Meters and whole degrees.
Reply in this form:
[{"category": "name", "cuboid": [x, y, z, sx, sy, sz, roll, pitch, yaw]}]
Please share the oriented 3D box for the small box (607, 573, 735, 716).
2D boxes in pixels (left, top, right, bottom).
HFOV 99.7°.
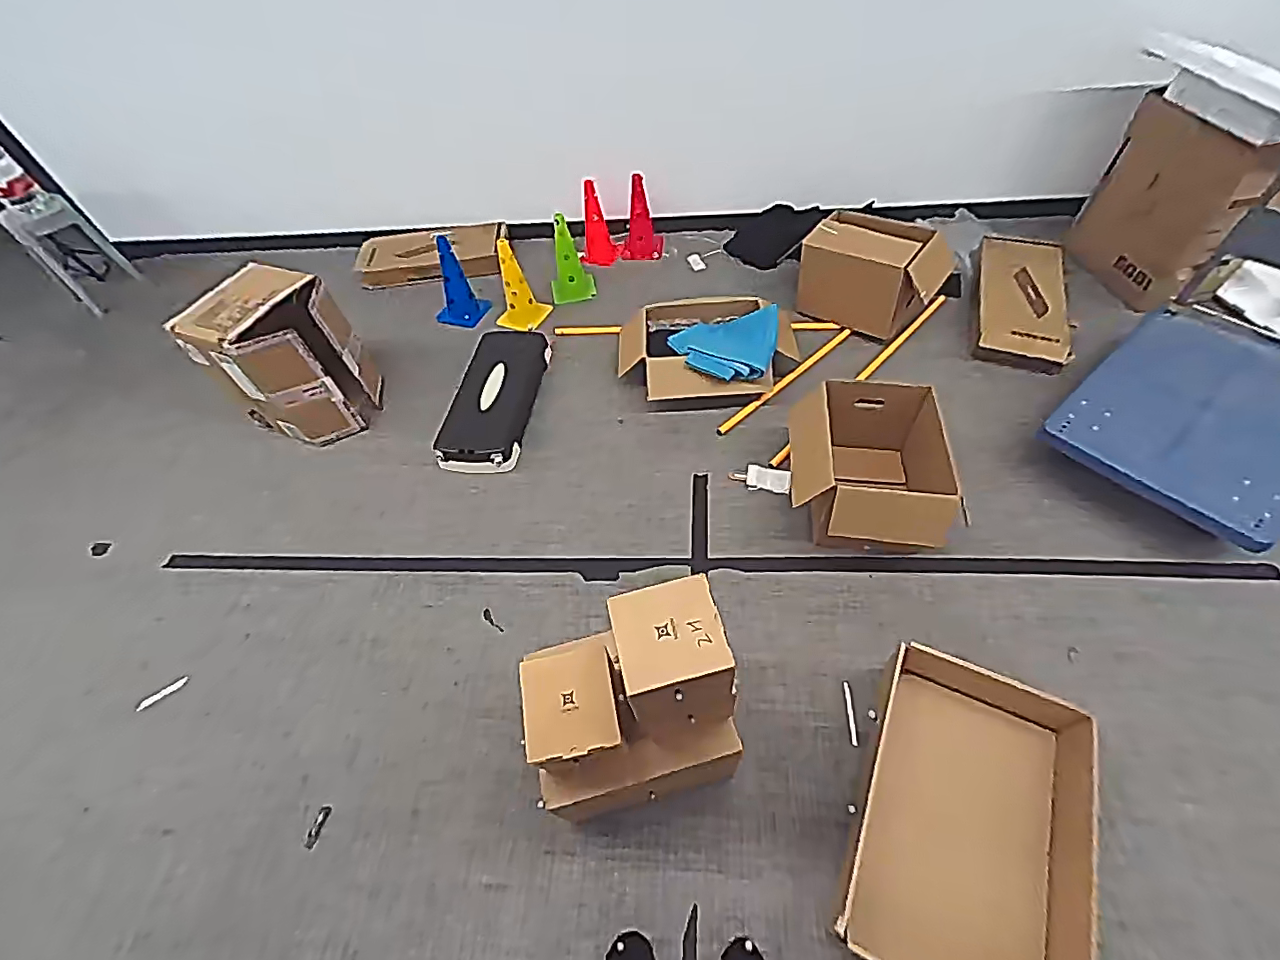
[{"category": "small box", "cuboid": [0.053, 0.286, 0.926, 0.179, 0.176, 0.168, -14, 54, -4]}]
